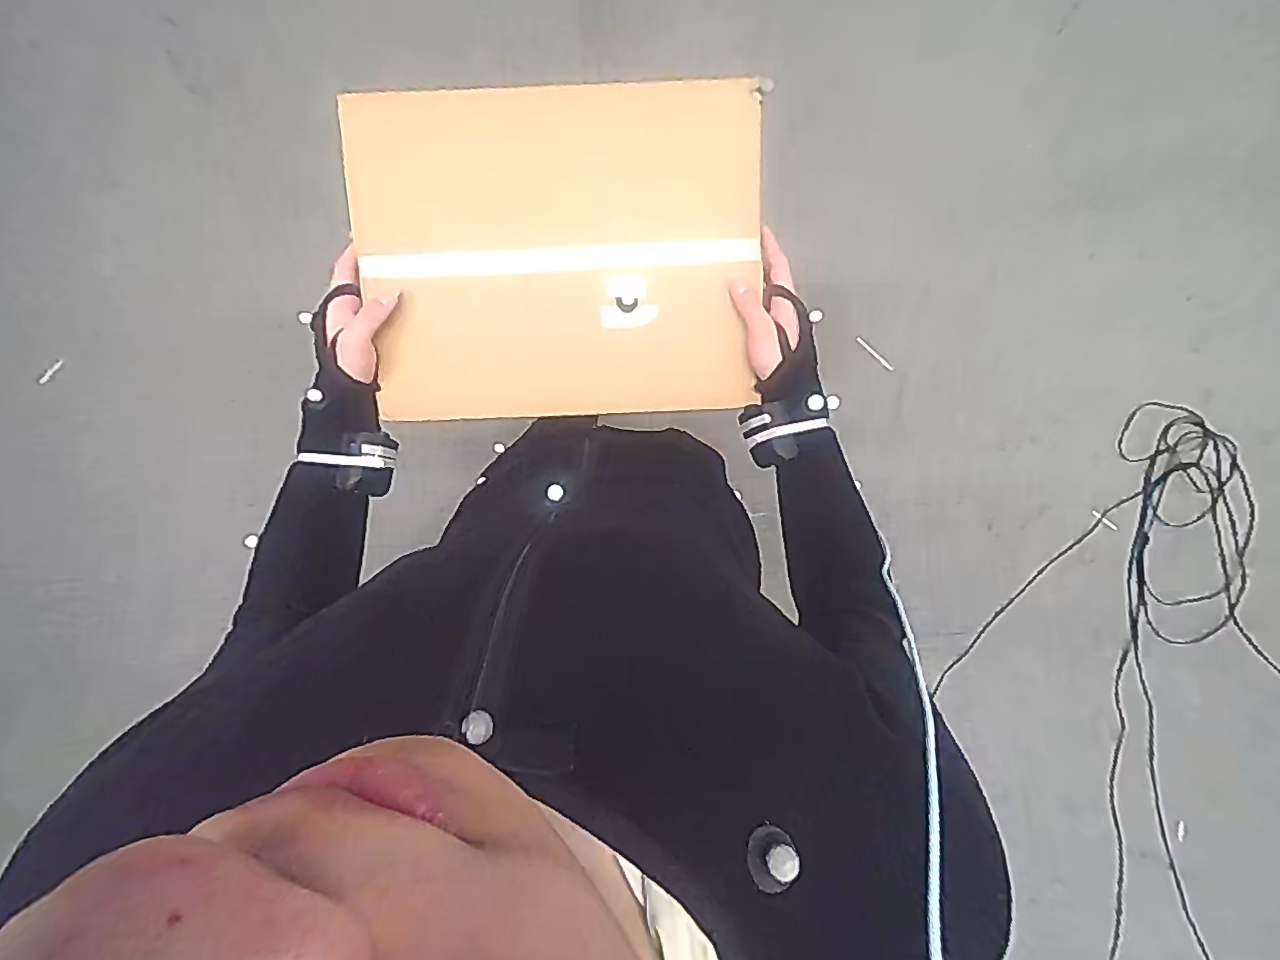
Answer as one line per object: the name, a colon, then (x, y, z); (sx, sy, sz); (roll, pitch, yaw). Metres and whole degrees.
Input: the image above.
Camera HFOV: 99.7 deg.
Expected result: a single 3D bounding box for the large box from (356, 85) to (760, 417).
large box: (-0.081, -0.254, 0.704); (0.408, 0.320, 0.320); (-2, 100, -1)
